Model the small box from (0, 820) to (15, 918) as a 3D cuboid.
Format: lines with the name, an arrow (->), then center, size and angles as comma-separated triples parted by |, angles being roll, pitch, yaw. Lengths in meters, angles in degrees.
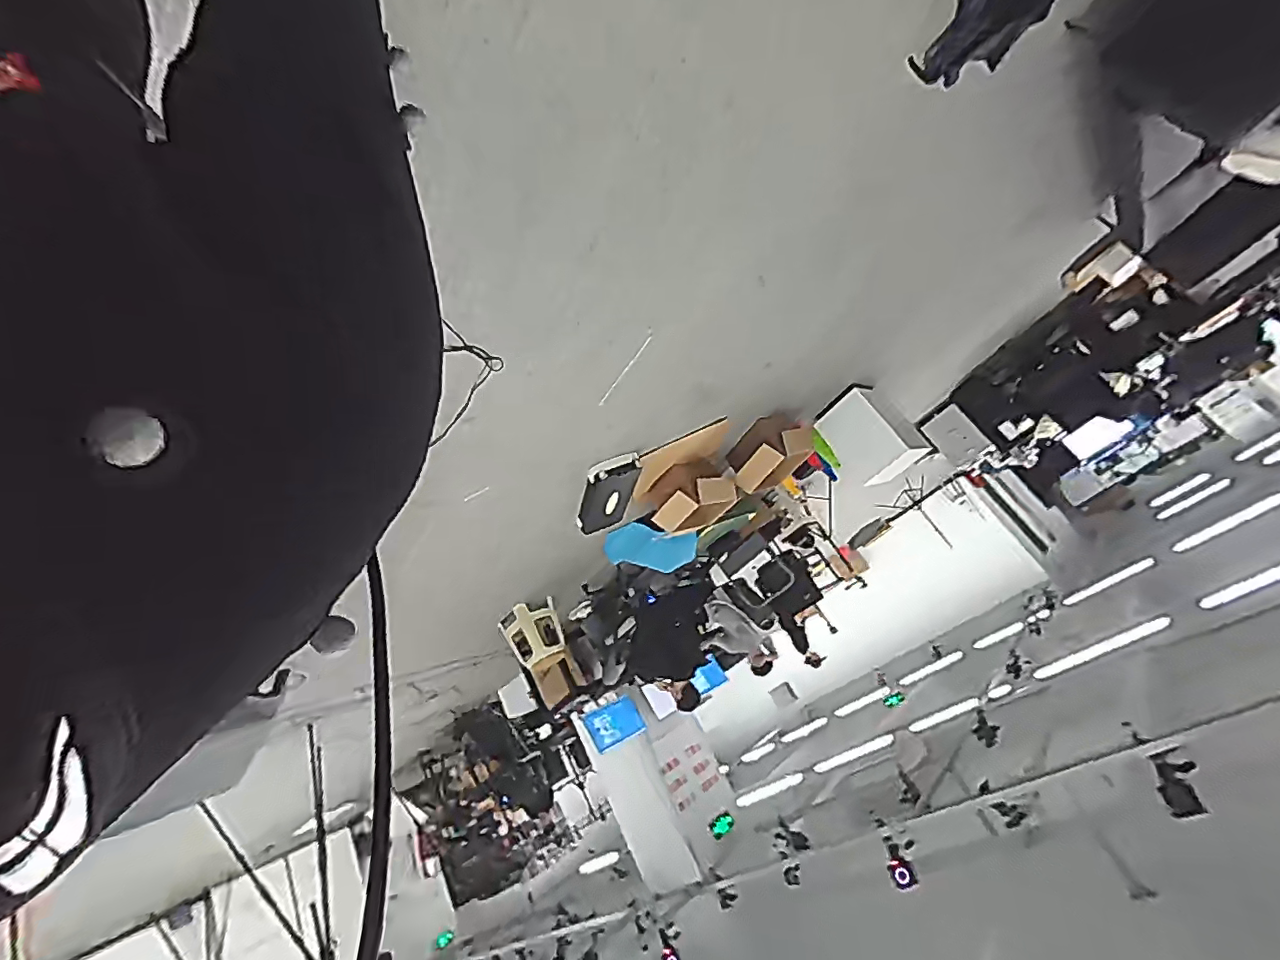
small box -> -1.466, 0.863, 1.140 | 0.168, 0.176, 0.179 | -41, 156, 27
